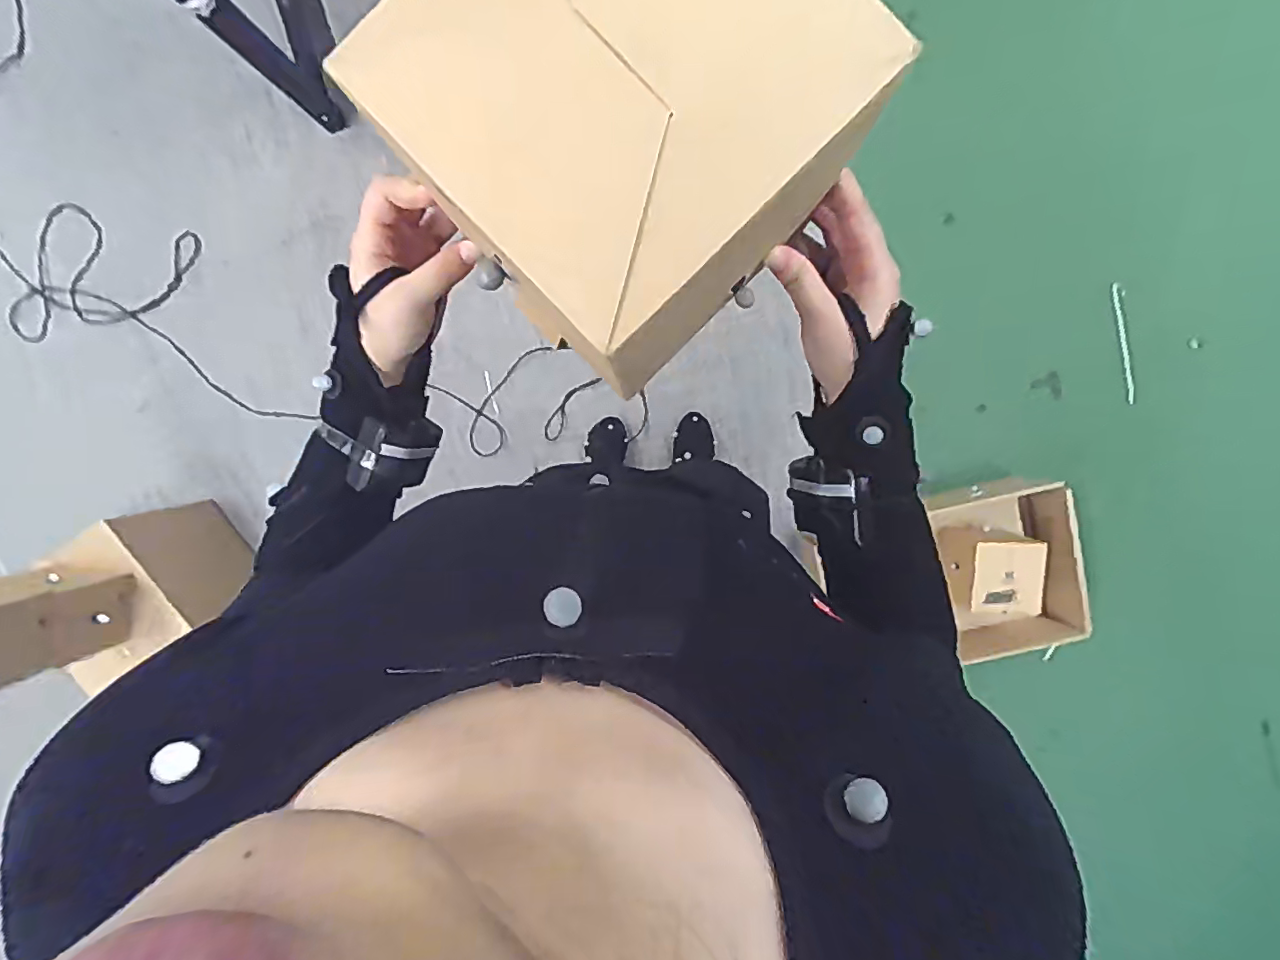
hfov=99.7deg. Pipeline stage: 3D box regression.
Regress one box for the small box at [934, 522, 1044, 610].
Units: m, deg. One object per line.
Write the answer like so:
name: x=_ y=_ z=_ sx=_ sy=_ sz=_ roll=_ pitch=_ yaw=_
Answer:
small box: x=0.868 y=0.212 z=1.363 sx=0.168 sy=0.176 sz=0.179 roll=2 pitch=98 yaw=2

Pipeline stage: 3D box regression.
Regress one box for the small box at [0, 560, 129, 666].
small box: x=-1.252 y=0.277 z=1.158 sx=0.179 sy=0.176 sz=0.168 roll=7 pitch=97 yaw=-2

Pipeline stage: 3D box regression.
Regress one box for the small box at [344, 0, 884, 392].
small box: x=-0.008 y=-0.172 z=0.296 sx=0.179 sy=0.176 sz=0.168 roll=-45 pitch=90 yaw=2
